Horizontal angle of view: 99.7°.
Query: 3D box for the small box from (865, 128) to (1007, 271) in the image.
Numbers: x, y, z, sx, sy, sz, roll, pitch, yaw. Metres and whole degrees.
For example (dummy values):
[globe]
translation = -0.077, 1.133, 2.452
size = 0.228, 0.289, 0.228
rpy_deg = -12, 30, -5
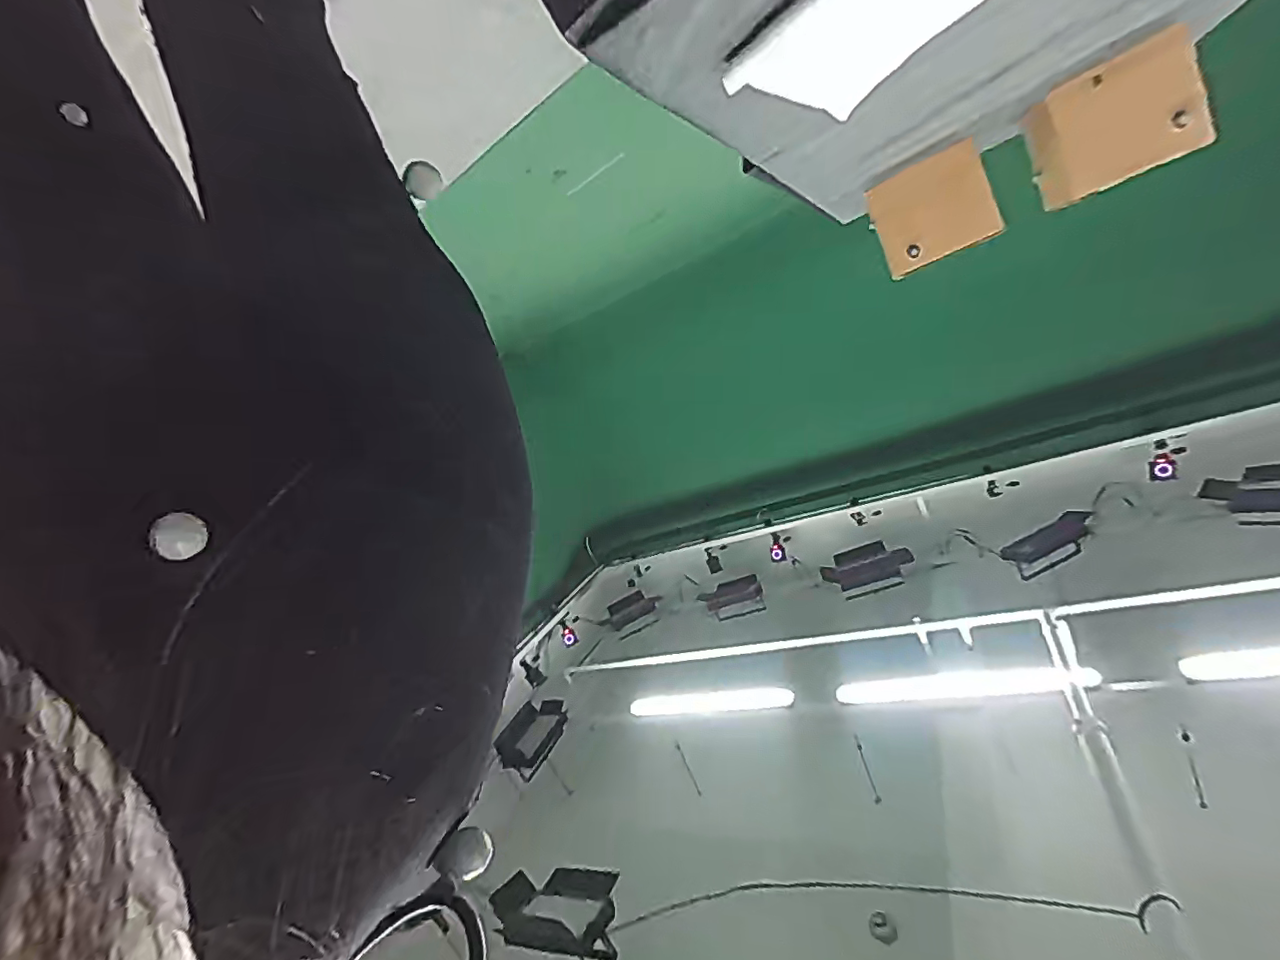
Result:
[small box]
translation = 0.532, -0.504, 0.991
size = 0.179, 0.176, 0.168
rpy_deg = -19, -169, 28
